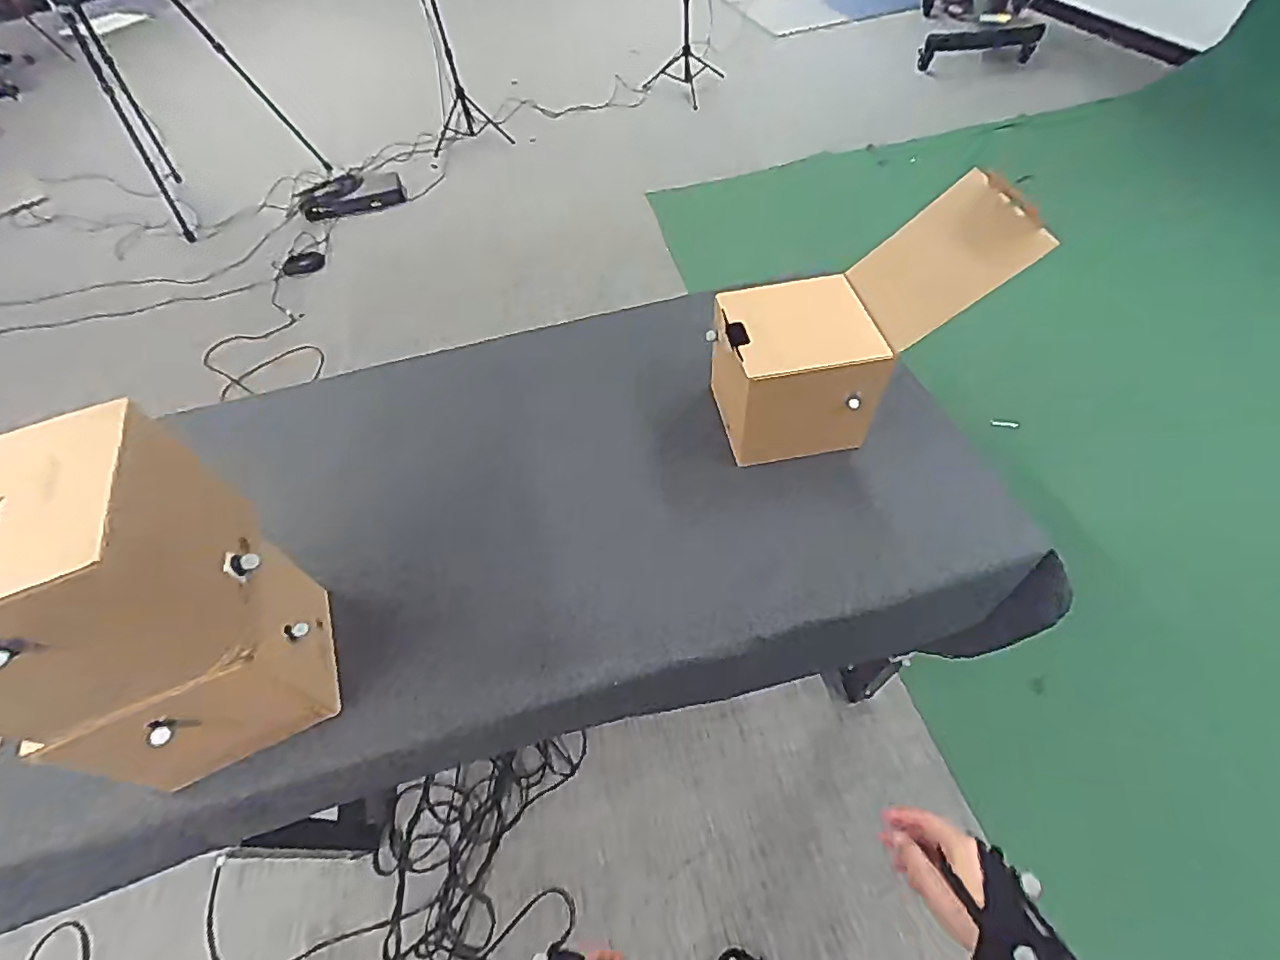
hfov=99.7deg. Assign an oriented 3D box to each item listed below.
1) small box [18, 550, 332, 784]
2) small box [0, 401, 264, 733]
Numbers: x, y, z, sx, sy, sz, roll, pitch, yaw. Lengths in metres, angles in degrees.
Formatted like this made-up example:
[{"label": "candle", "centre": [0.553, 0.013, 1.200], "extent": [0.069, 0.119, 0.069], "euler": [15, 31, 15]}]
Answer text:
[{"label": "small box", "centre": [-0.441, 0.180, 0.553], "extent": [0.179, 0.176, 0.168], "euler": [-23, 54, -11]}, {"label": "small box", "centre": [-0.441, 0.074, 0.429], "extent": [0.179, 0.176, 0.168], "euler": [-22, 55, -12]}]
